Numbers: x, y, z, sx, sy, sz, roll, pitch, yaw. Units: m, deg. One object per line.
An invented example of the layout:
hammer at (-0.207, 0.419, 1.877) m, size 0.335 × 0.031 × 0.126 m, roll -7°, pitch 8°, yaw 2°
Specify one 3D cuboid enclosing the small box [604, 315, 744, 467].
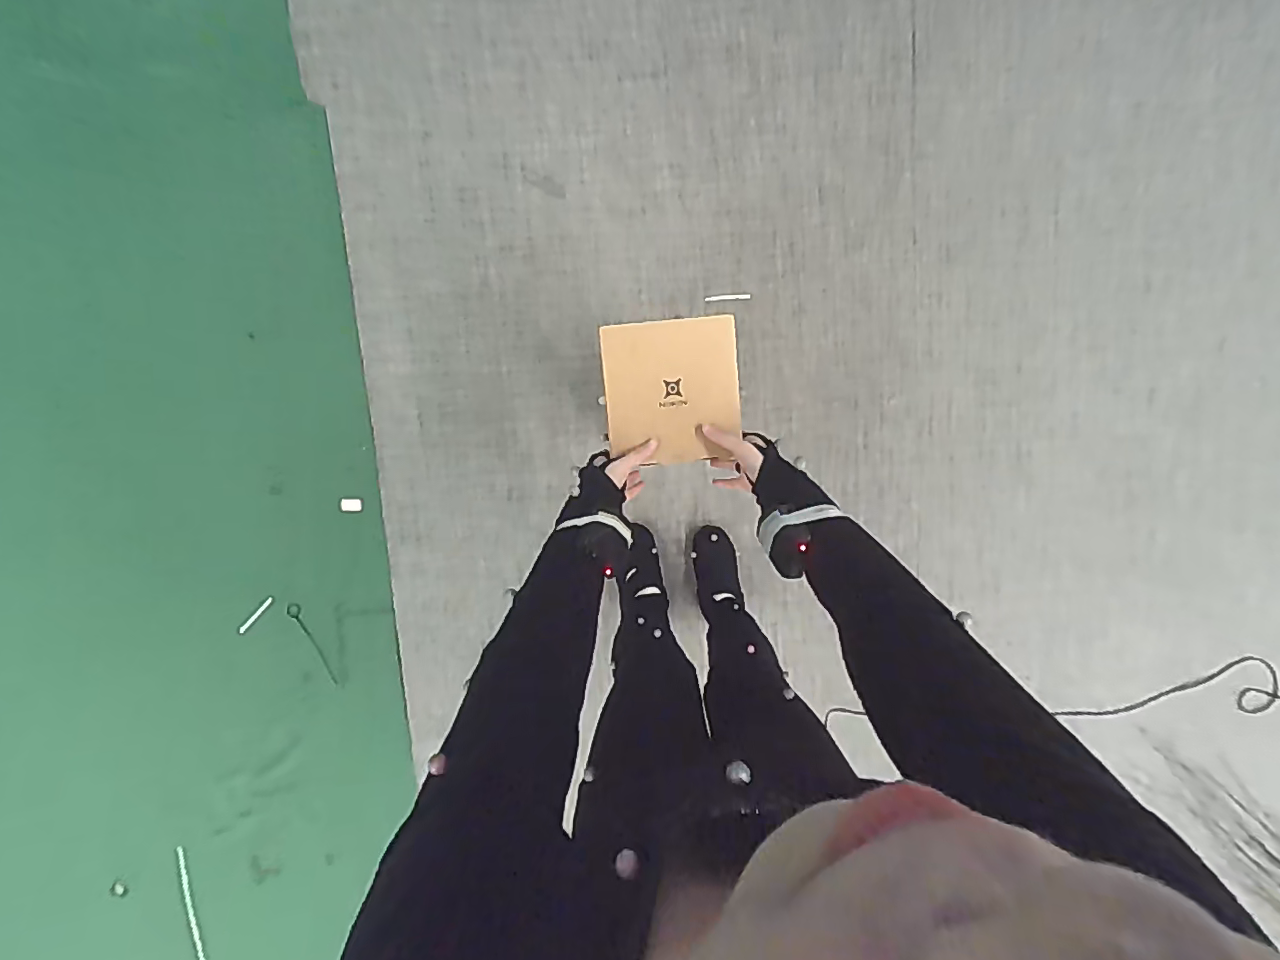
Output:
small box at (0.040, -0.118, 0.744) m, size 0.168 × 0.176 × 0.179 m, roll -5°, pitch 98°, yaw -1°
